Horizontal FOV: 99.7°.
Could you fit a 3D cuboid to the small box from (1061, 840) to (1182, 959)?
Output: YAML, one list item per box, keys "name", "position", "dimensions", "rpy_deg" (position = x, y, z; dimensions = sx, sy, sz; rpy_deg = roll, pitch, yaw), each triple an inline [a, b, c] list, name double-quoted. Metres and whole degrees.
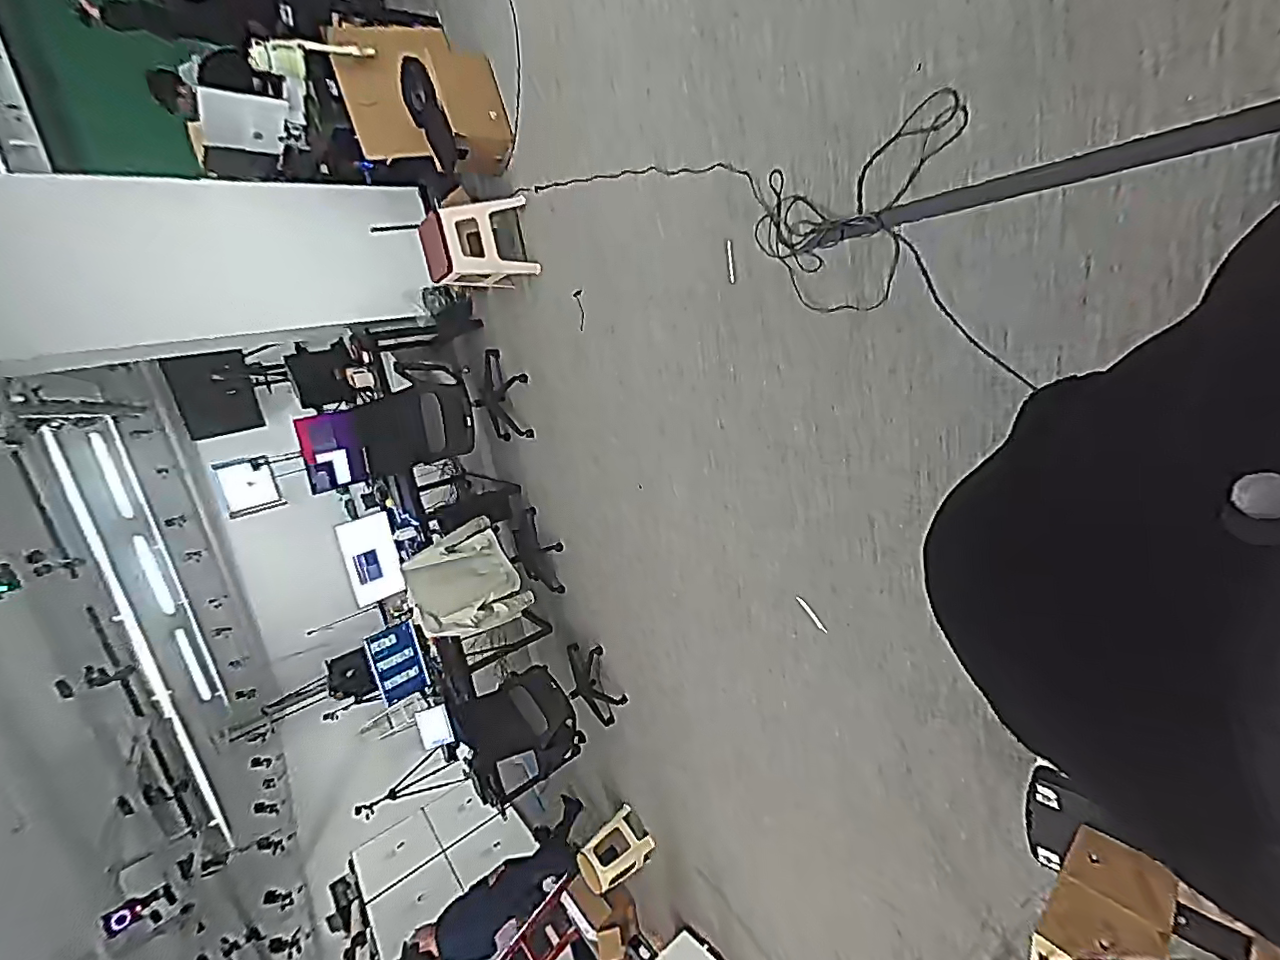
- name: "small box"
  position: [1.071, 0.927, 1.208]
  dimensions: [0.179, 0.176, 0.168]
  rpy_deg: [11, 116, 51]

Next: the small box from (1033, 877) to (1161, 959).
- name: "small box"
  position: [0.947, 0.990, 1.123]
  dimensions: [0.179, 0.176, 0.168]
  rpy_deg: [12, 117, 50]
